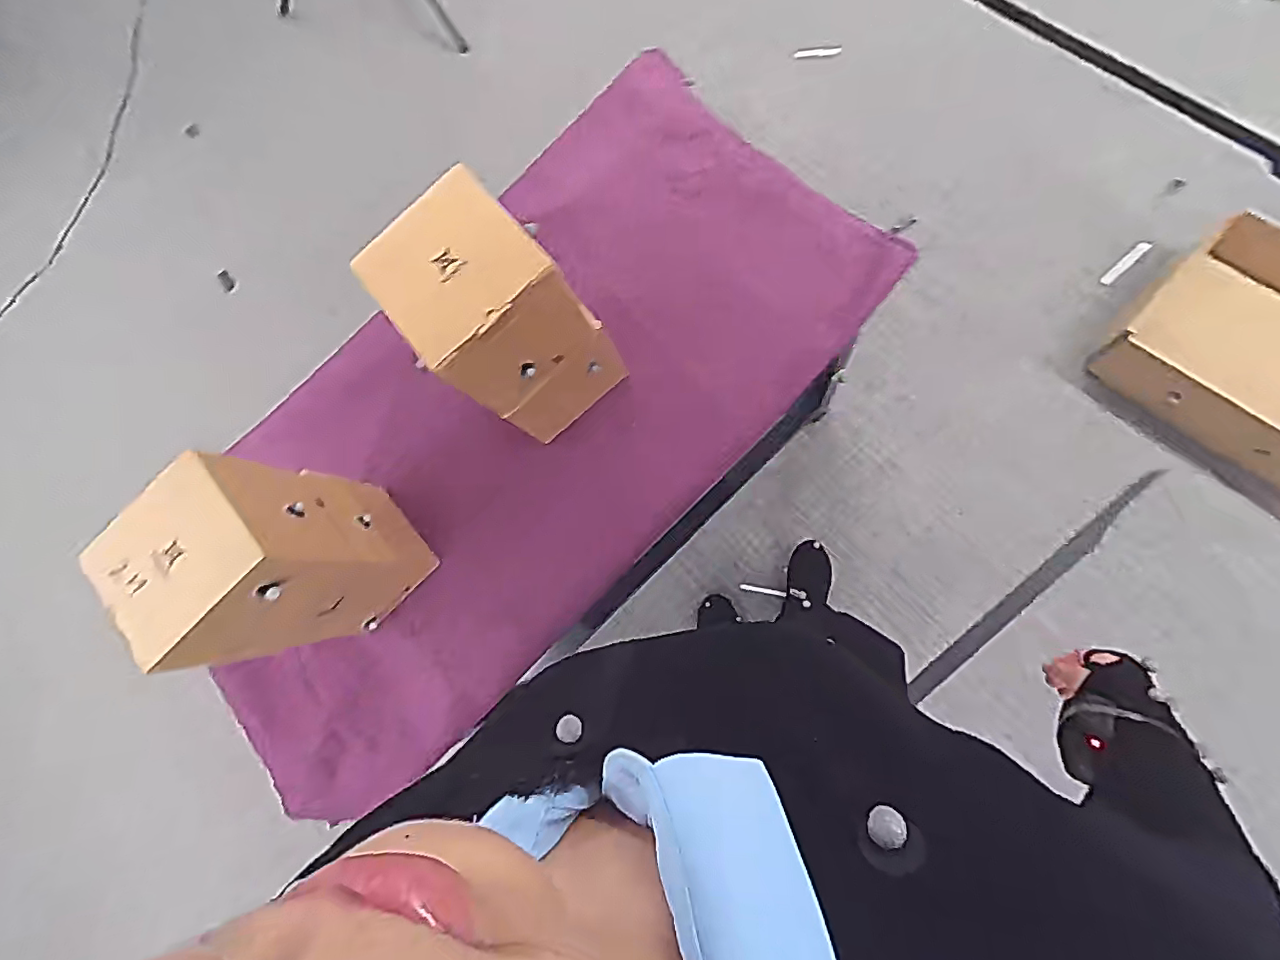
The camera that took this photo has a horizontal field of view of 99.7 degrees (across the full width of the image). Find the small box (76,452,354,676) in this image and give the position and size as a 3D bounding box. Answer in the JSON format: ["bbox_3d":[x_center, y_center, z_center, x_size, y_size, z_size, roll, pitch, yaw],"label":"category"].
[{"bbox_3d":[-0.477,0.096,0.638,0.179,0.176,0.168,-45,75,1],"label":"small box"}]

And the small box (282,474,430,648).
[{"bbox_3d":[-0.451,0.118,0.800,0.168,0.176,0.179,-44,75,1],"label":"small box"}]

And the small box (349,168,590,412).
[{"bbox_3d":[-0.188,-0.208,0.639,0.168,0.176,0.179,-42,75,1],"label":"small box"}]
